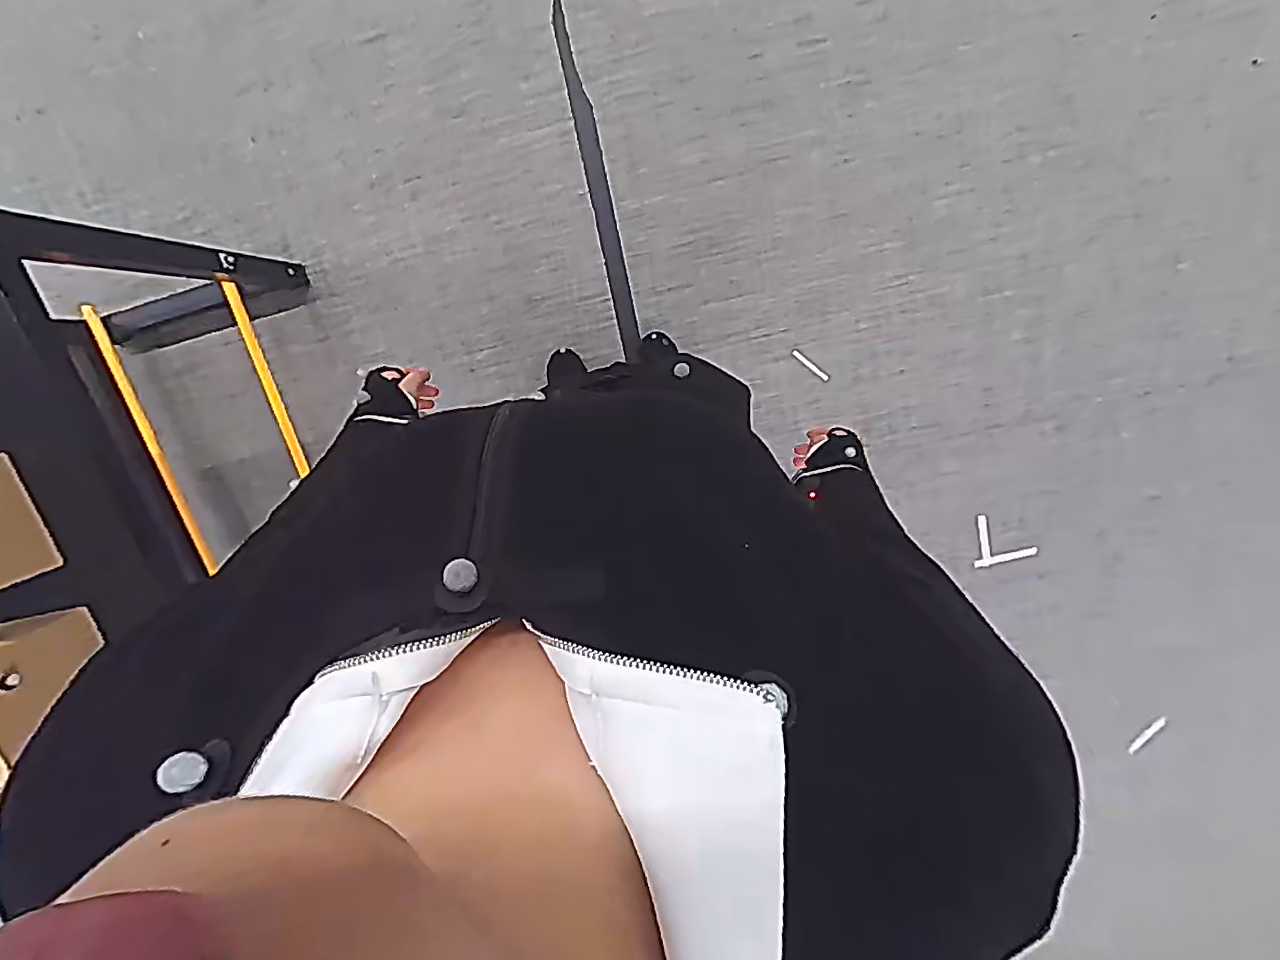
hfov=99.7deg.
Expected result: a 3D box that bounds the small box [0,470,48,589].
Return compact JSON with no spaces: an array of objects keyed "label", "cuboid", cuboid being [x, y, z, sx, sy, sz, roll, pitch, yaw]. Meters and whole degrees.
[{"label":"small box","cuboid":[-0.956,0.086,0.703,0.168,0.176,0.179,-12,104,5]}]
